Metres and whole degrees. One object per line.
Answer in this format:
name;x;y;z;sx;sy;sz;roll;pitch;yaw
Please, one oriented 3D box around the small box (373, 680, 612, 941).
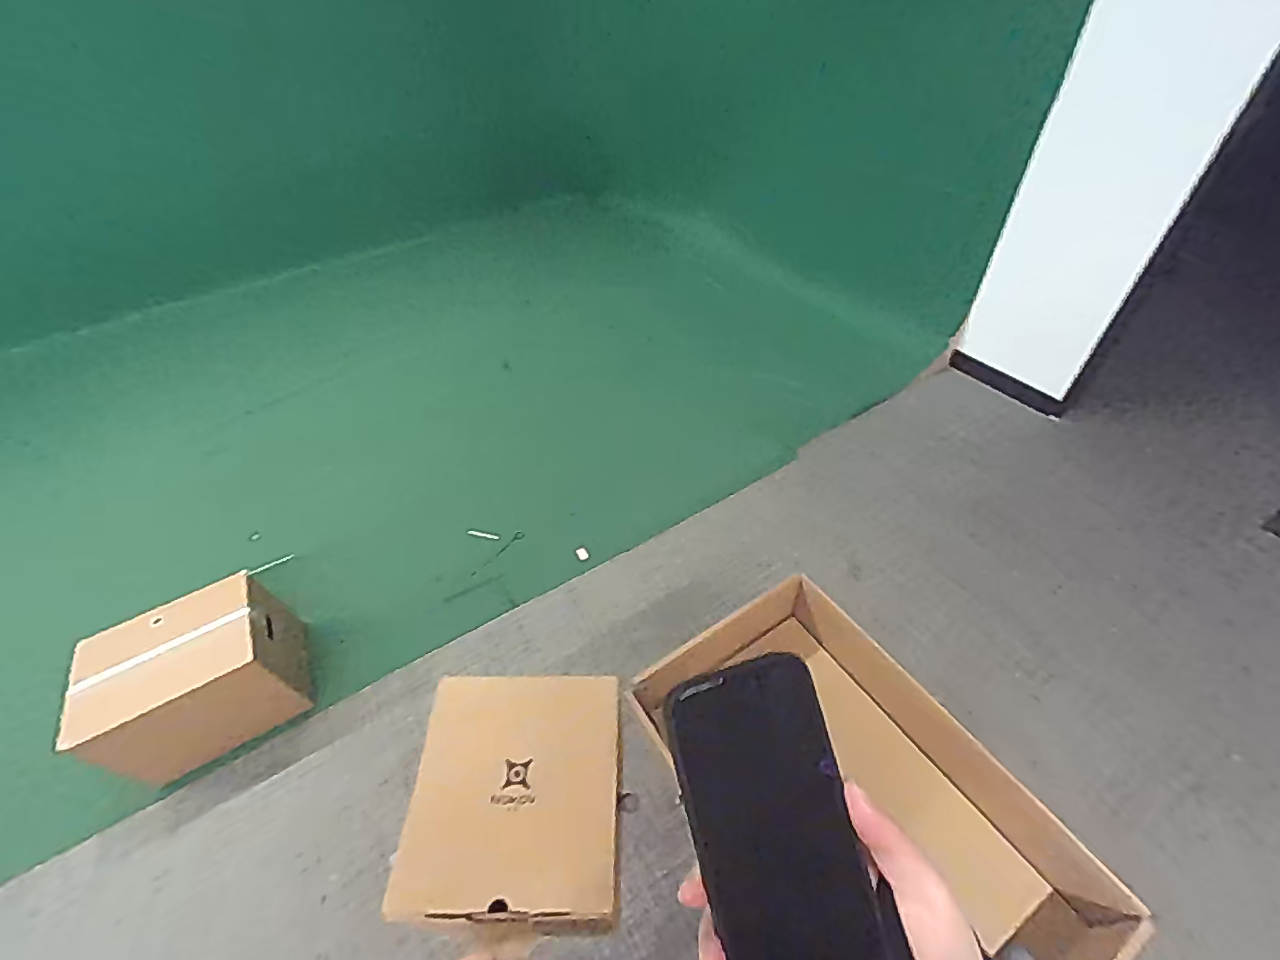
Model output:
small box;-0.112;0.303;0.497;0.168;0.176;0.179;-1;48;-1
